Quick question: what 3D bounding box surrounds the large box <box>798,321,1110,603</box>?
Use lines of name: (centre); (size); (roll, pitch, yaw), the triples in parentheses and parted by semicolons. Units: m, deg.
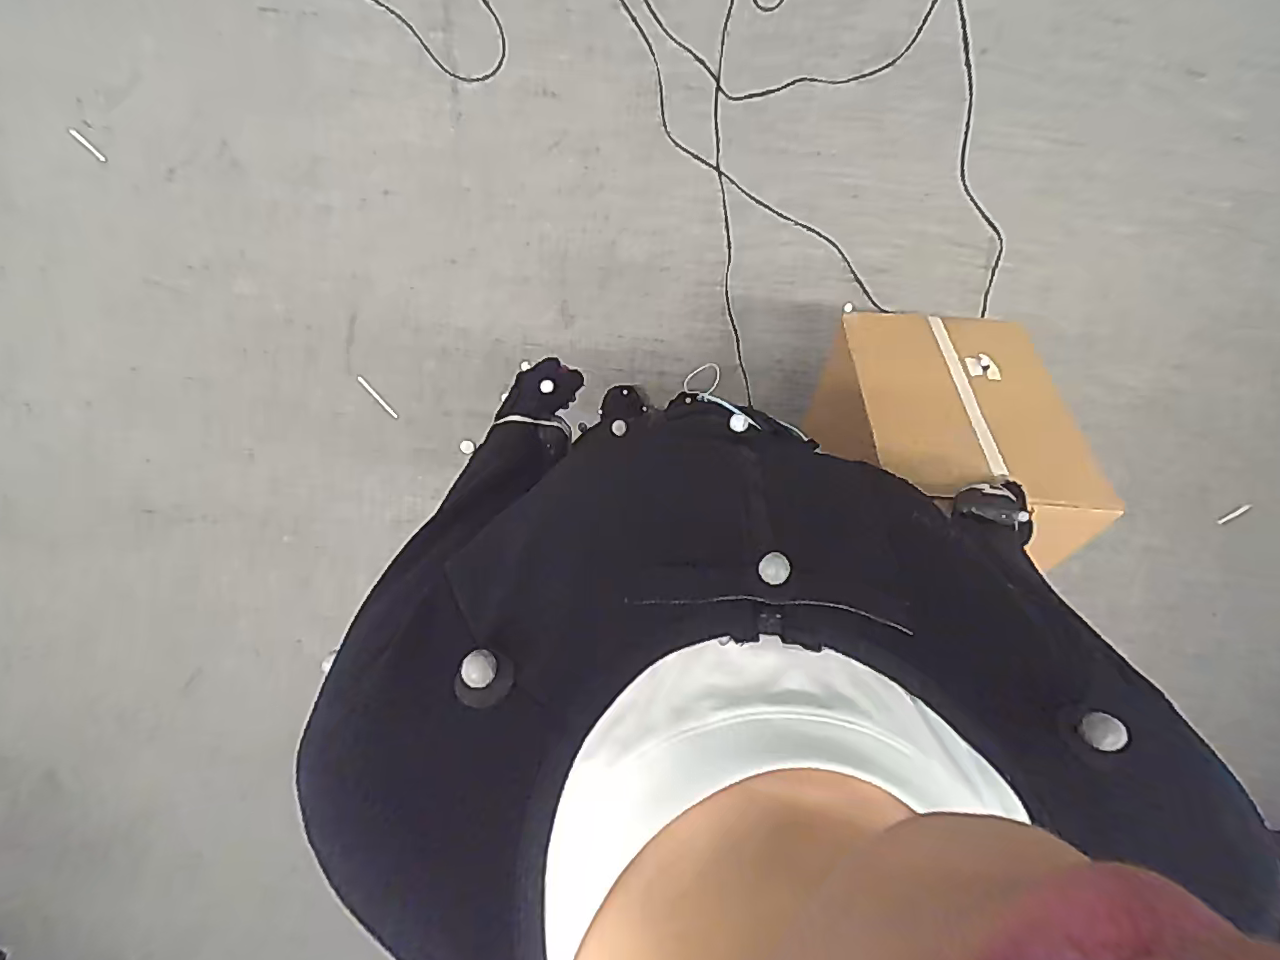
large box: (0.492, -0.030, 0.967); (0.320, 0.408, 0.320); (4, 142, 1)
